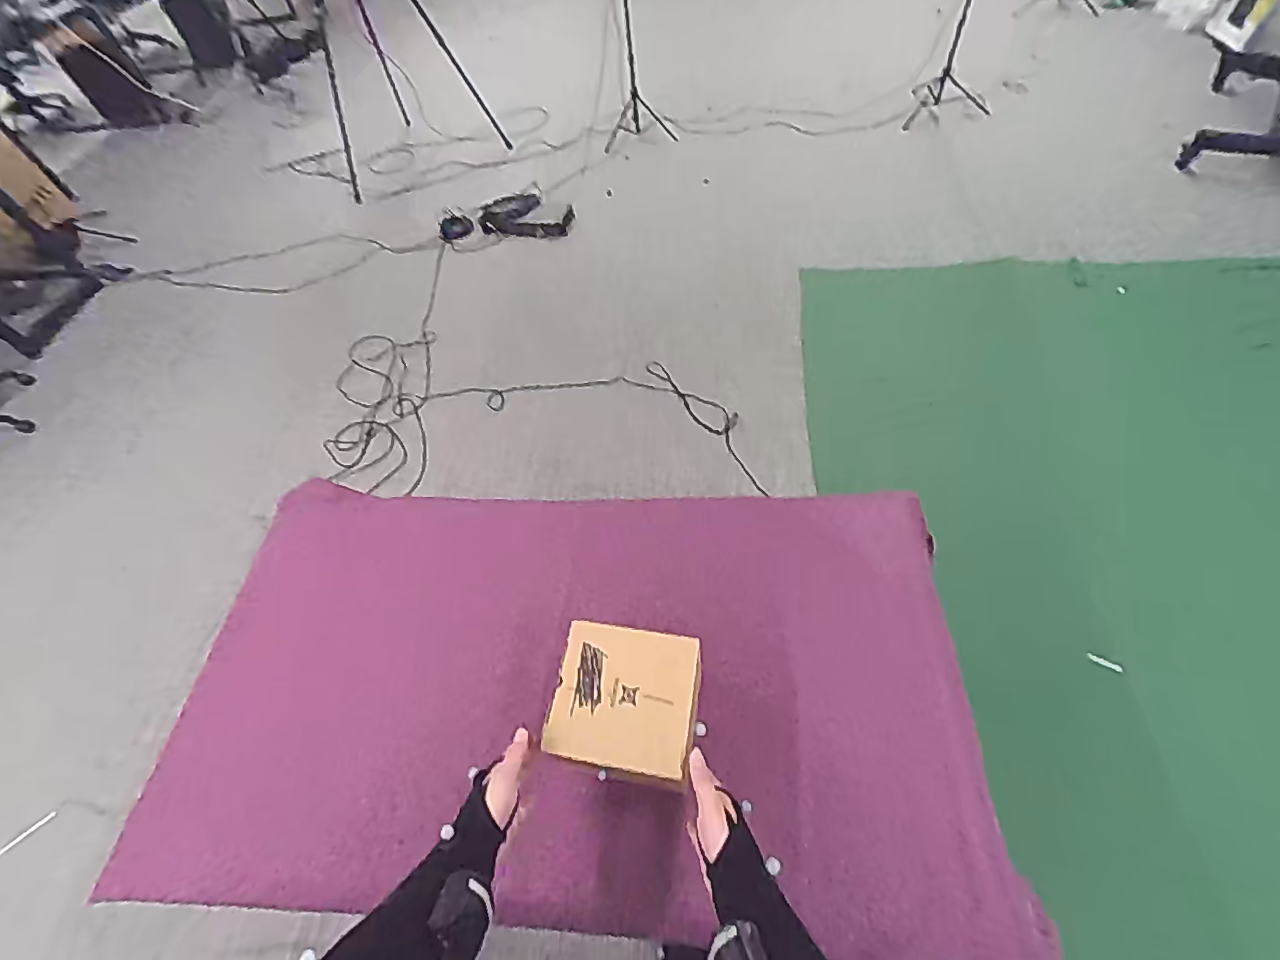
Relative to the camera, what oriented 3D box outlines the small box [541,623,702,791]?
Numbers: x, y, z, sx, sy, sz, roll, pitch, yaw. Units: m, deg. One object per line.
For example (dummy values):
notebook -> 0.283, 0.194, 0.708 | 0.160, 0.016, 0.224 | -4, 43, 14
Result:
small box -> -0.012, 0.314, 0.738 | 0.179, 0.176, 0.168 | 6, 57, 10
